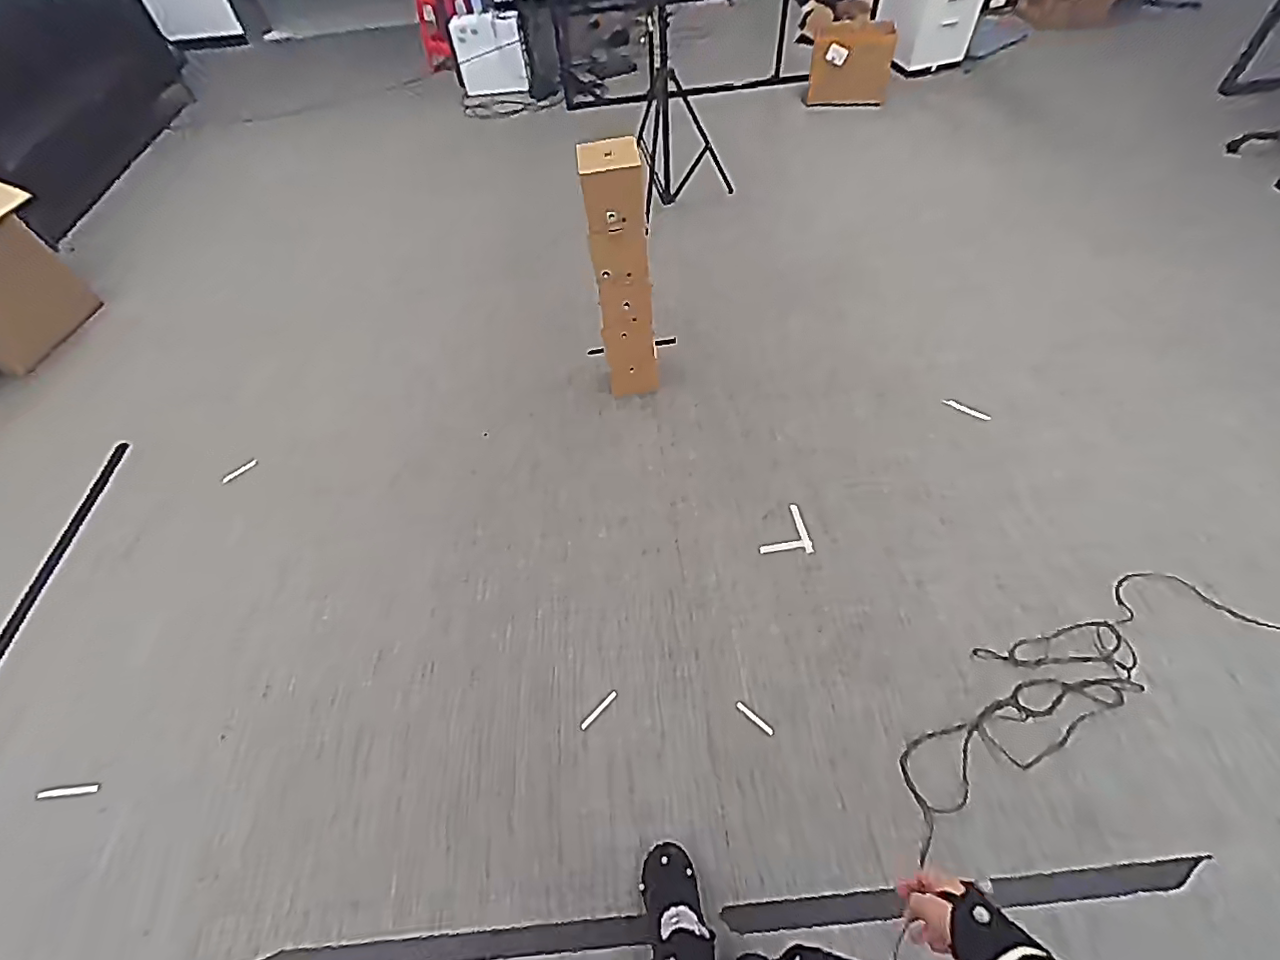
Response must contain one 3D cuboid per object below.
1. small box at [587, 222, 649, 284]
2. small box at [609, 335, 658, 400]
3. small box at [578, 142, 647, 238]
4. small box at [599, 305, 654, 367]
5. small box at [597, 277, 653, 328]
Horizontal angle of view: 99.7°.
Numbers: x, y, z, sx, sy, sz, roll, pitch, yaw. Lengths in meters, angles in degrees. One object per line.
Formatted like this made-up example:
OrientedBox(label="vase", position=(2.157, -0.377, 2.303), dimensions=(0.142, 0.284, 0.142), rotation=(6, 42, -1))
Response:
OrientedBox(label="small box", position=(-0.066, -0.711, 1.636), dimensions=(0.168, 0.176, 0.179), rotation=(-7, 53, 1))
OrientedBox(label="small box", position=(-0.027, -0.423, 2.033), dimensions=(0.179, 0.176, 0.168), rotation=(-7, 54, 0))
OrientedBox(label="small box", position=(-0.076, -0.806, 1.506), dimensions=(0.168, 0.176, 0.179), rotation=(-9, 55, 0))
OrientedBox(label="small box", position=(-0.046, -0.515, 1.899), dimensions=(0.179, 0.176, 0.168), rotation=(-5, 55, 2))
OrientedBox(label="small box", position=(-0.050, -0.614, 1.768), dimensions=(0.168, 0.176, 0.179), rotation=(-6, 55, 1))
